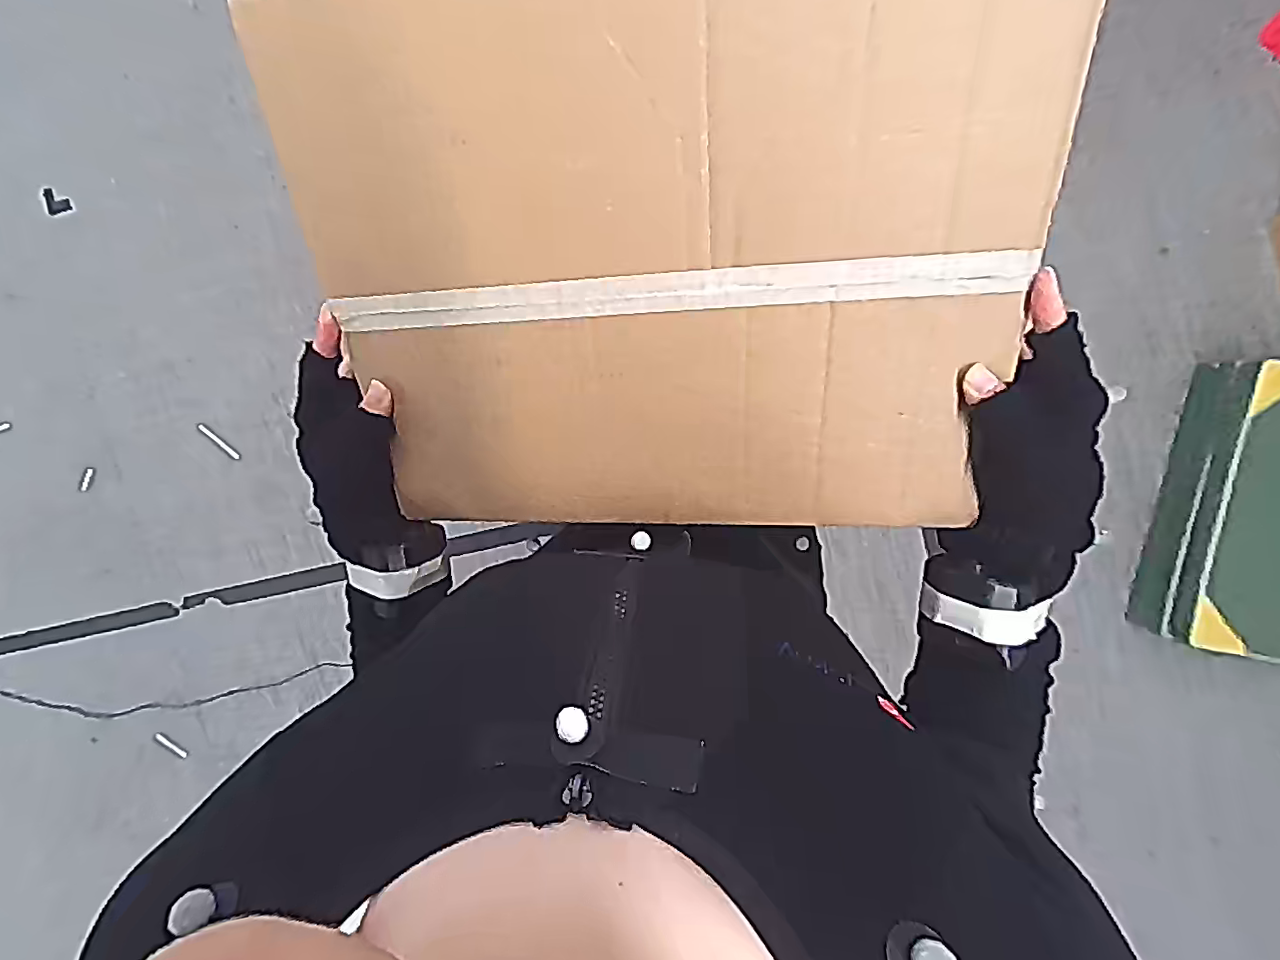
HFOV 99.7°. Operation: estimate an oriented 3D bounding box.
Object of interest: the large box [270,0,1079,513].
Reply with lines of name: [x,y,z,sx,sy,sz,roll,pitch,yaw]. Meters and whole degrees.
large box: [0.028,-0.181,0.451,0.408,0.320,0.320,0,119,10]
